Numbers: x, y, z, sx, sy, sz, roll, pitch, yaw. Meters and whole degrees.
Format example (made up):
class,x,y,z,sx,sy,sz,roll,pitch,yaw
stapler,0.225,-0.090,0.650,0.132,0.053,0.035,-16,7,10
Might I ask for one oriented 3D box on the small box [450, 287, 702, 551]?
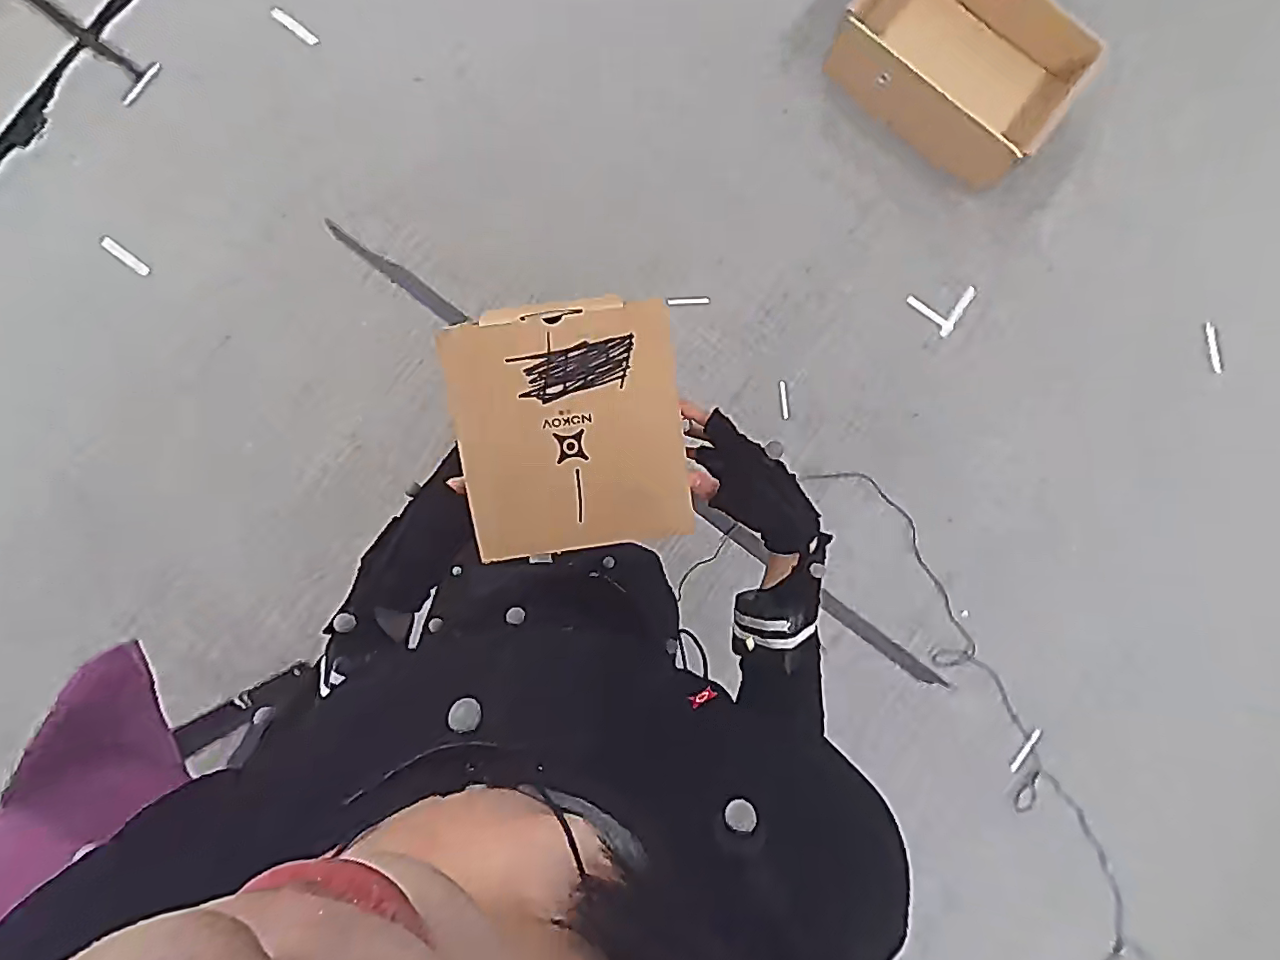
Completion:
class,x,y,z,sx,sy,sz,roll,pitch,yaw
small box,-0.046,-0.050,0.467,0.168,0.176,0.179,-7,97,0
